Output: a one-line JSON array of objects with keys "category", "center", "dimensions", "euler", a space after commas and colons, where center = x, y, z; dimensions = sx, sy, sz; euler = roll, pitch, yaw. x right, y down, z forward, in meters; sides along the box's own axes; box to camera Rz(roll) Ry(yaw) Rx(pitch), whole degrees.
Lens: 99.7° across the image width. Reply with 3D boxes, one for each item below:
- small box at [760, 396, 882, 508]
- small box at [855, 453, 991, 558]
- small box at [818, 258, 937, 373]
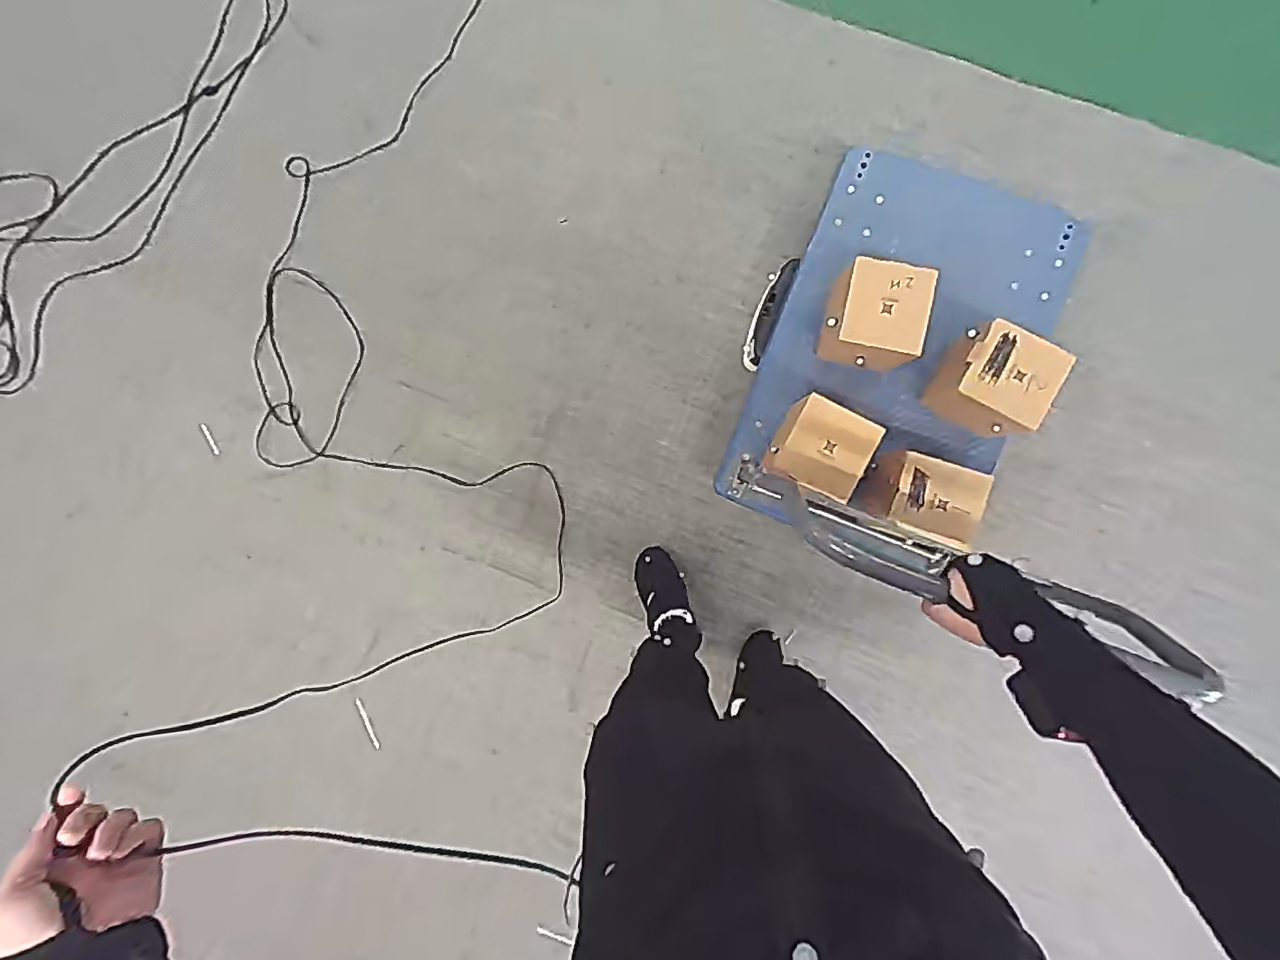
[{"category": "small box", "center": [0.374, -0.057, 1.156], "dimensions": [0.168, 0.176, 0.179], "euler": [28, 92, 2]}, {"category": "small box", "center": [0.584, 0.052, 1.143], "dimensions": [0.179, 0.176, 0.168], "euler": [18, 91, 2]}, {"category": "small box", "center": [0.493, -0.339, 1.150], "dimensions": [0.168, 0.176, 0.179], "euler": [13, 90, 2]}]
